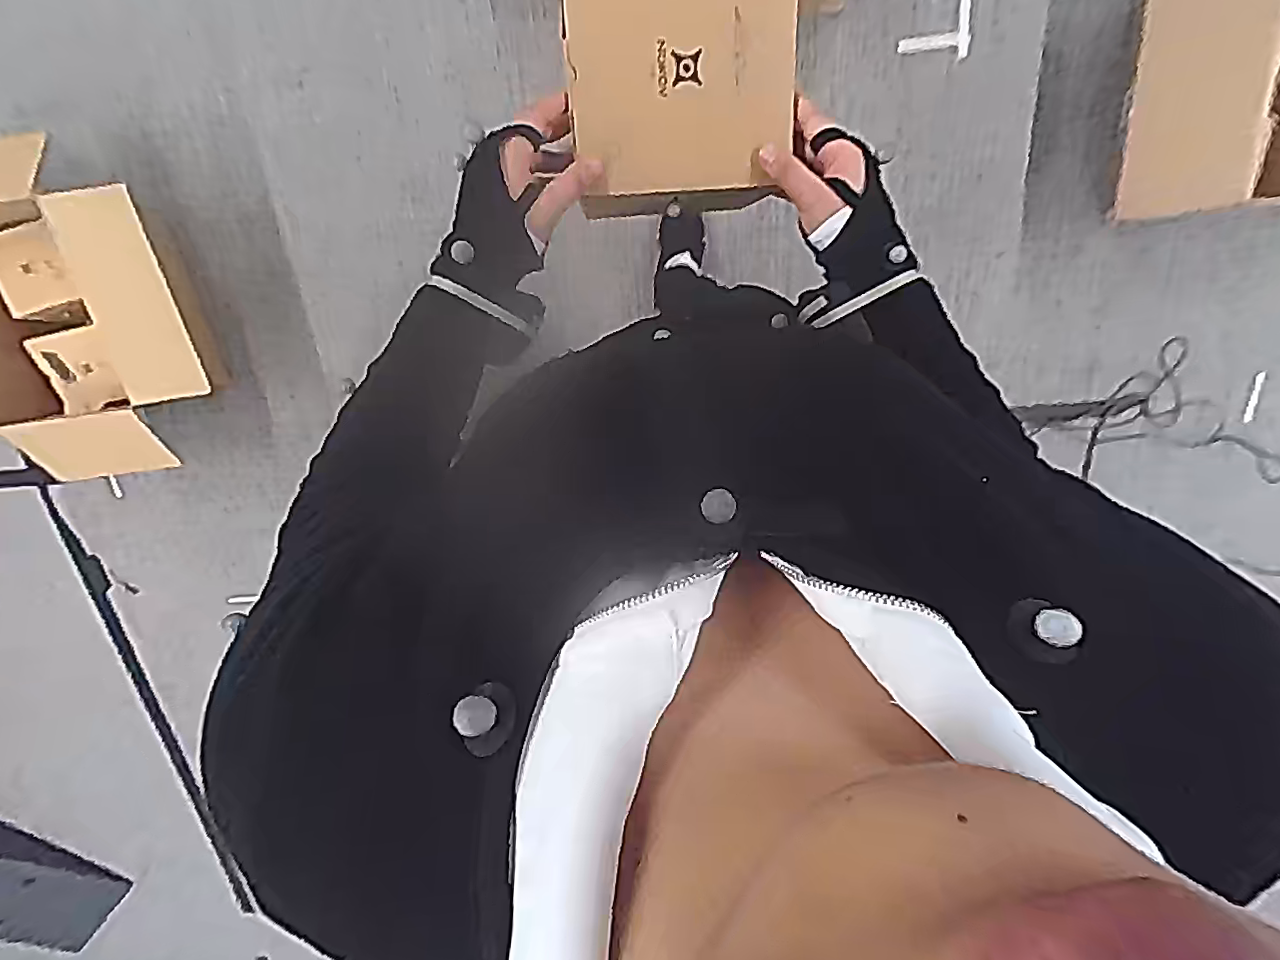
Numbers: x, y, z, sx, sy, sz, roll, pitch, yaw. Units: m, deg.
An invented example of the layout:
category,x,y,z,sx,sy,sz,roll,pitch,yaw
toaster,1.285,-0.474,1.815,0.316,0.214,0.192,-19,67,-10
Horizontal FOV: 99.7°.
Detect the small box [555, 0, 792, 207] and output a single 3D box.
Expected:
category,x,y,z,sx,sy,sz,roll,pitch,yaw
small box,0.023,-0.348,0.479,0.179,0.176,0.168,-6,111,-3
